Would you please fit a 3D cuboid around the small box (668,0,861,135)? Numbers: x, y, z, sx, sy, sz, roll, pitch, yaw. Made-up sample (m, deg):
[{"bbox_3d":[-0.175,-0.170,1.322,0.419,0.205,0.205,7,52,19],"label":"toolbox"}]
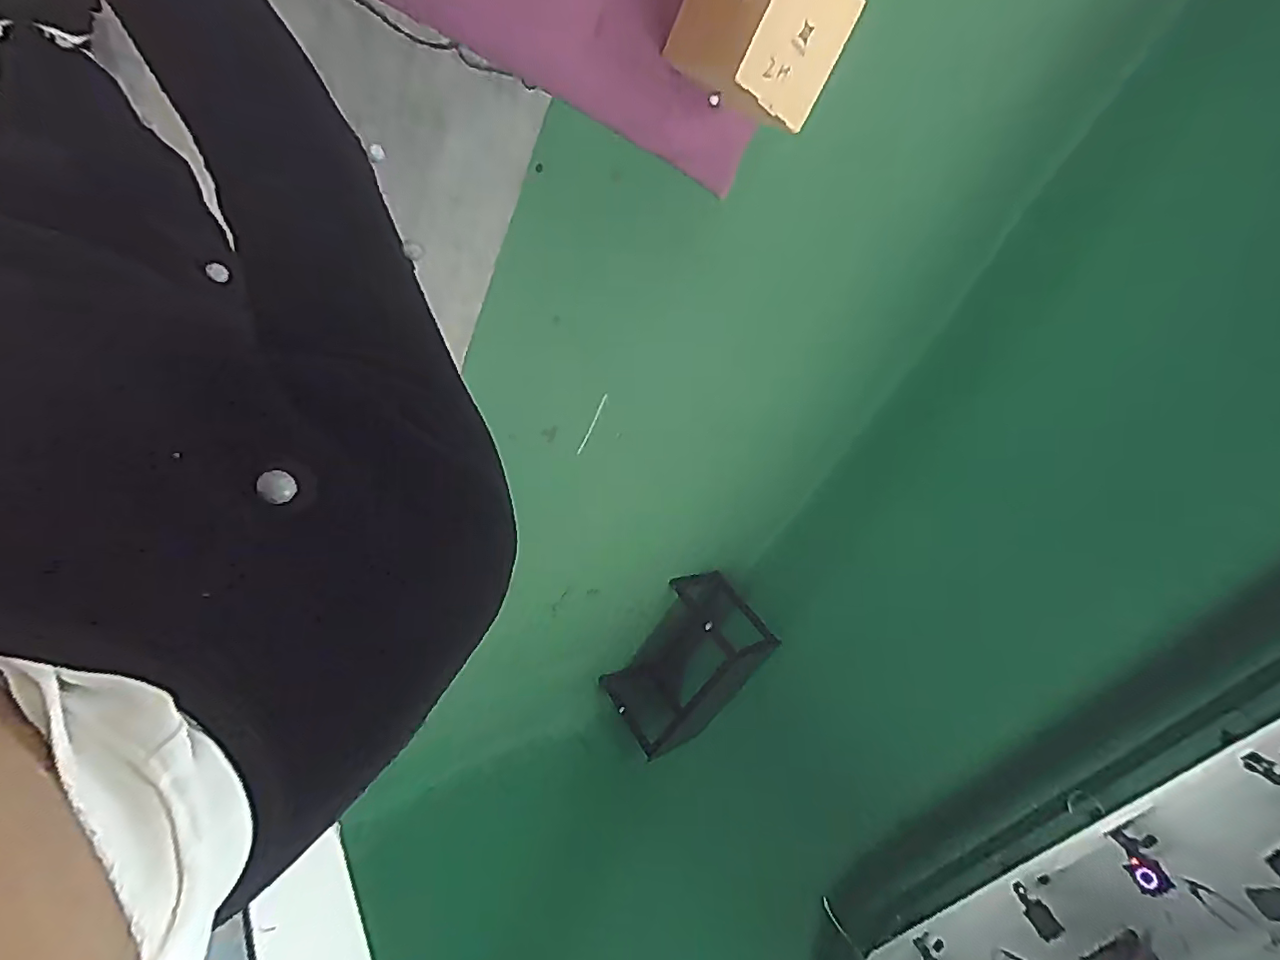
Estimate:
[{"bbox_3d":[0.168,-0.641,0.773,0.168,0.176,0.179,1,128,-45],"label":"small box"}]
